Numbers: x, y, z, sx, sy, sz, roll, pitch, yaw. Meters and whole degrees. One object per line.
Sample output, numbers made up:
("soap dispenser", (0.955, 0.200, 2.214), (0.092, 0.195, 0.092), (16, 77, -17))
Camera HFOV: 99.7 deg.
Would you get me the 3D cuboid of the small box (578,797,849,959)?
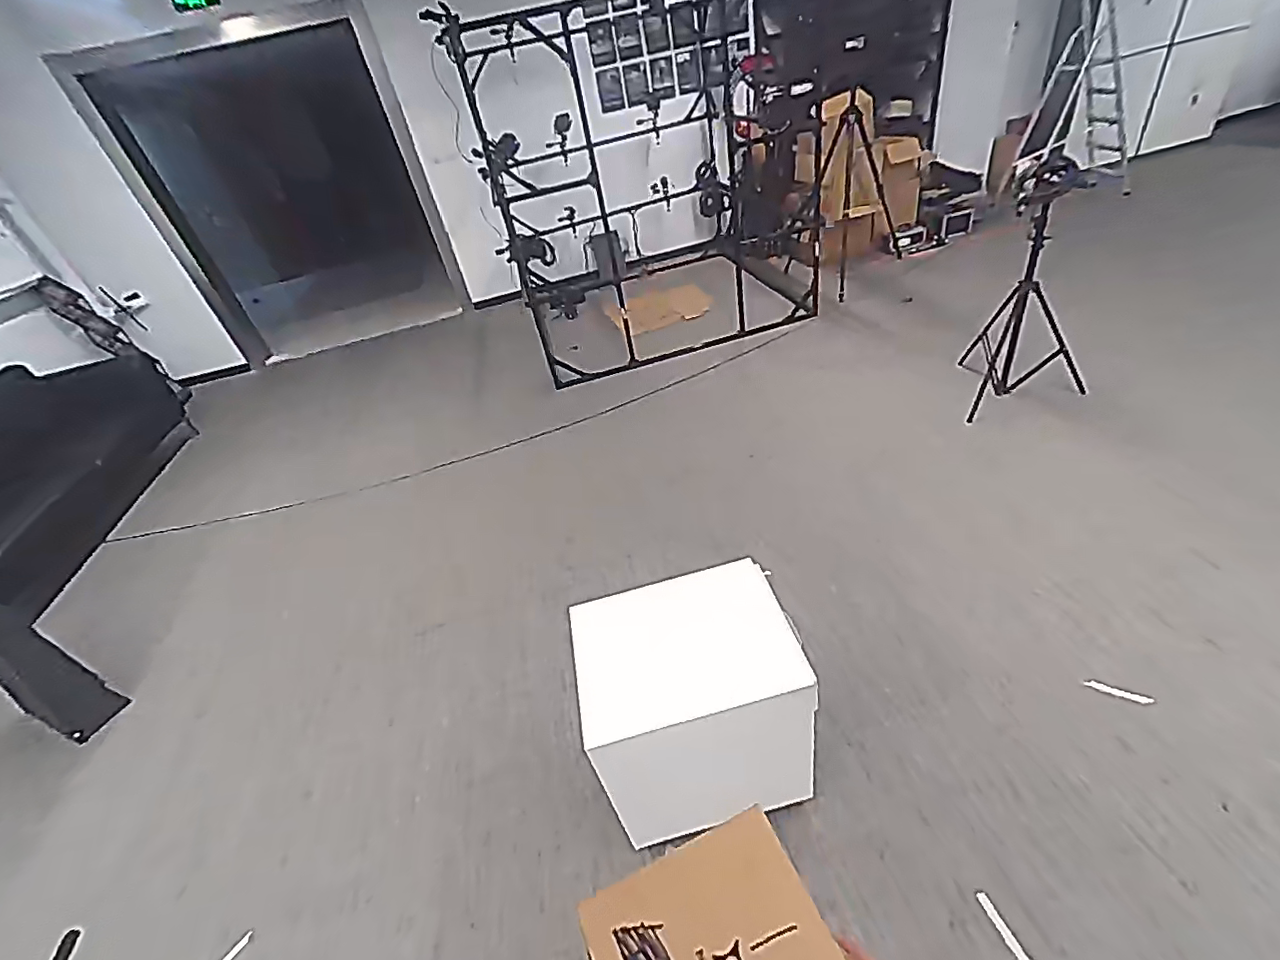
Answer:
("small box", (0.061, 0.416, 0.461), (0.179, 0.176, 0.168), (-17, 47, -18))
